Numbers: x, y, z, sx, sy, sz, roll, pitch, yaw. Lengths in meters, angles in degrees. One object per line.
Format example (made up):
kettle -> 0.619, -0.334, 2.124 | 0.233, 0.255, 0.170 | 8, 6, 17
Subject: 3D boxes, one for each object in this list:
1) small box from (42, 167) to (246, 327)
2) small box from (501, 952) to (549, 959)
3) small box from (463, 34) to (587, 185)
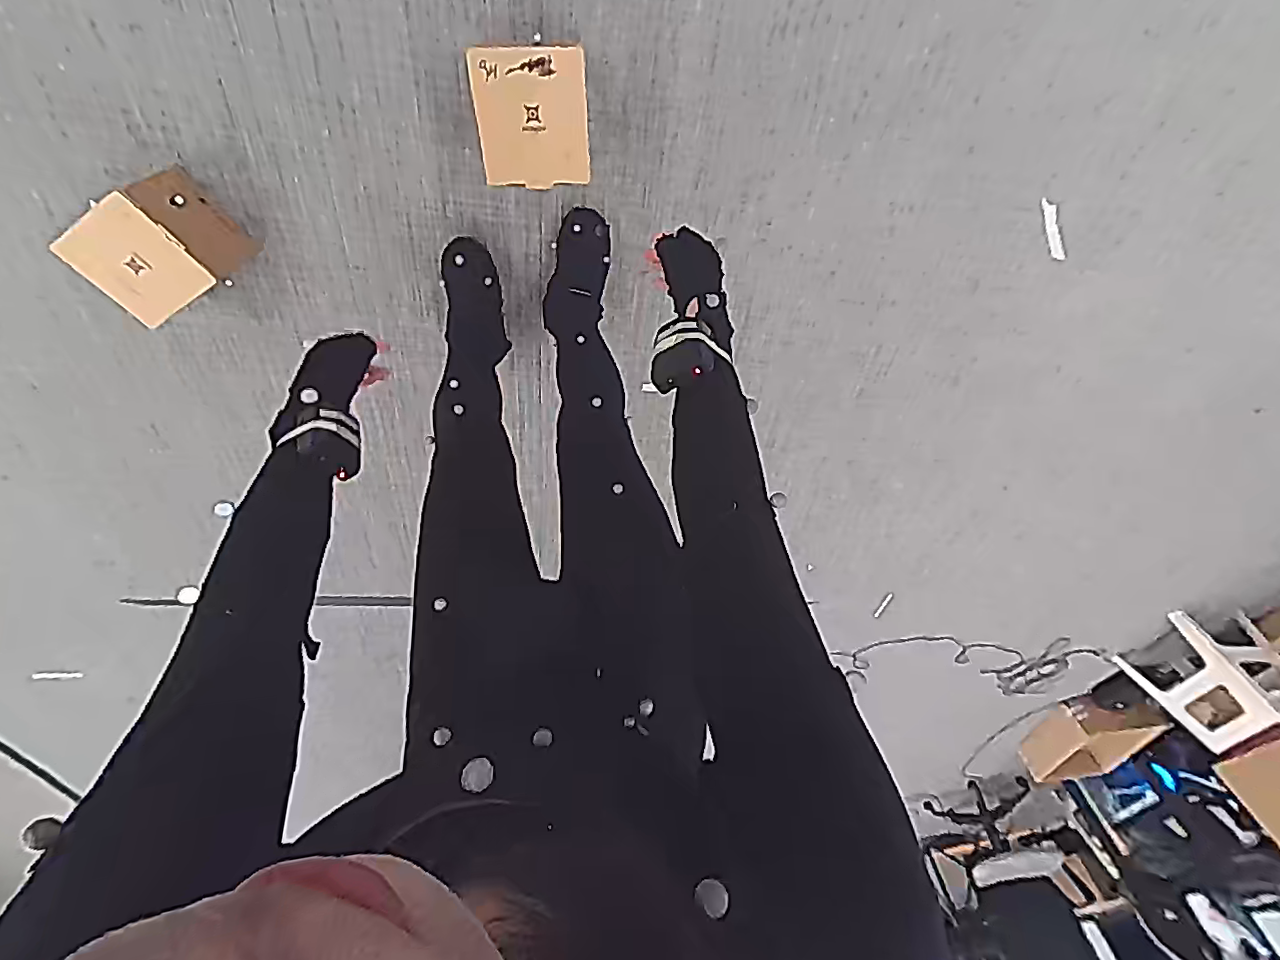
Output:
small box -> -0.827, -0.402, 0.928 | 0.179, 0.176, 0.168 | -25, 128, 15
small box -> -0.414, 1.765, 1.874 | 0.168, 0.176, 0.179 | 13, 127, -18
small box -> -0.169, -0.585, 0.854 | 0.168, 0.176, 0.179 | -4, 132, -5
